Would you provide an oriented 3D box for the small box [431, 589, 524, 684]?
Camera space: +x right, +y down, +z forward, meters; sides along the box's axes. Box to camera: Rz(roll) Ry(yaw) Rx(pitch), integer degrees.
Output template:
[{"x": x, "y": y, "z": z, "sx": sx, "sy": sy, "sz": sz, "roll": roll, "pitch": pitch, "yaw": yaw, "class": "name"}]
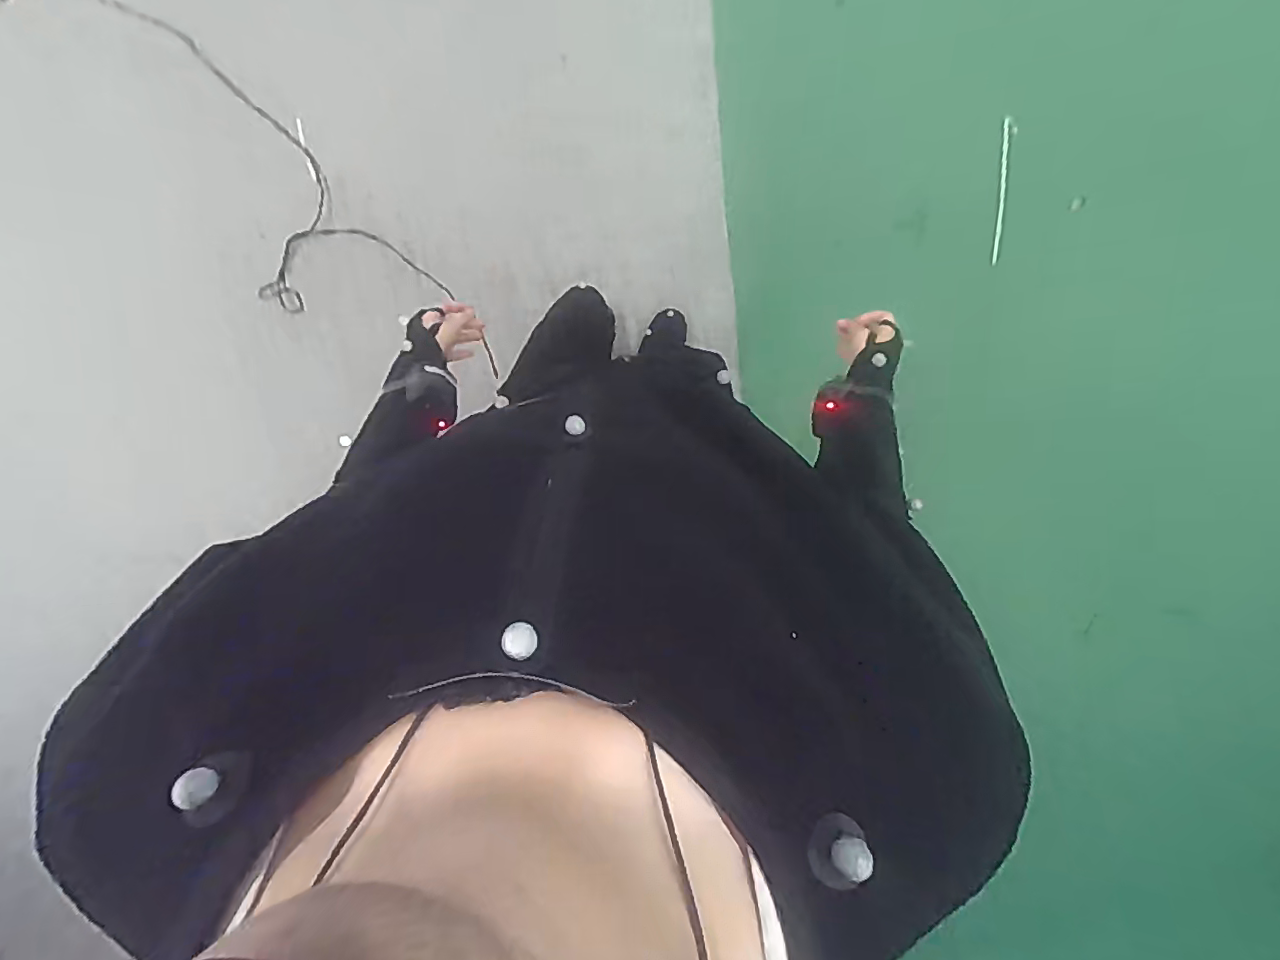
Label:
[{"x": -0.412, "y": 0.395, "z": 1.399, "sx": 0.168, "sy": 0.176, "sz": 0.179, "roll": -7, "pitch": 108, "yaw": 4, "class": "small box"}]
